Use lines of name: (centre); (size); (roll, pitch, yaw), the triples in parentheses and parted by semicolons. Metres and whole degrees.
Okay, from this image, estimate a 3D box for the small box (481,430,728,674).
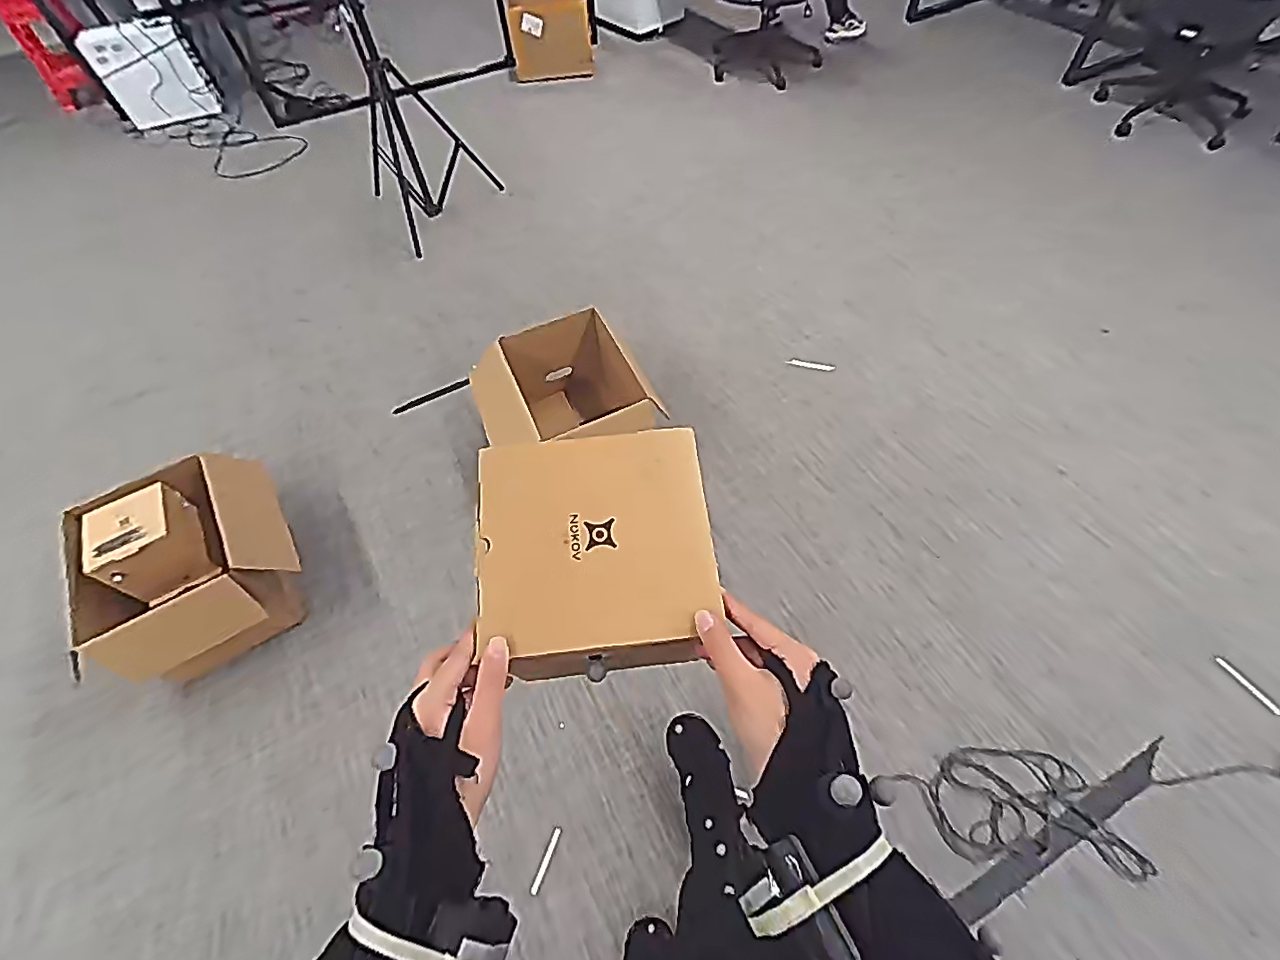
small box: (-0.032, 0.073, 0.481); (0.179, 0.176, 0.168); (-6, 65, -2)
